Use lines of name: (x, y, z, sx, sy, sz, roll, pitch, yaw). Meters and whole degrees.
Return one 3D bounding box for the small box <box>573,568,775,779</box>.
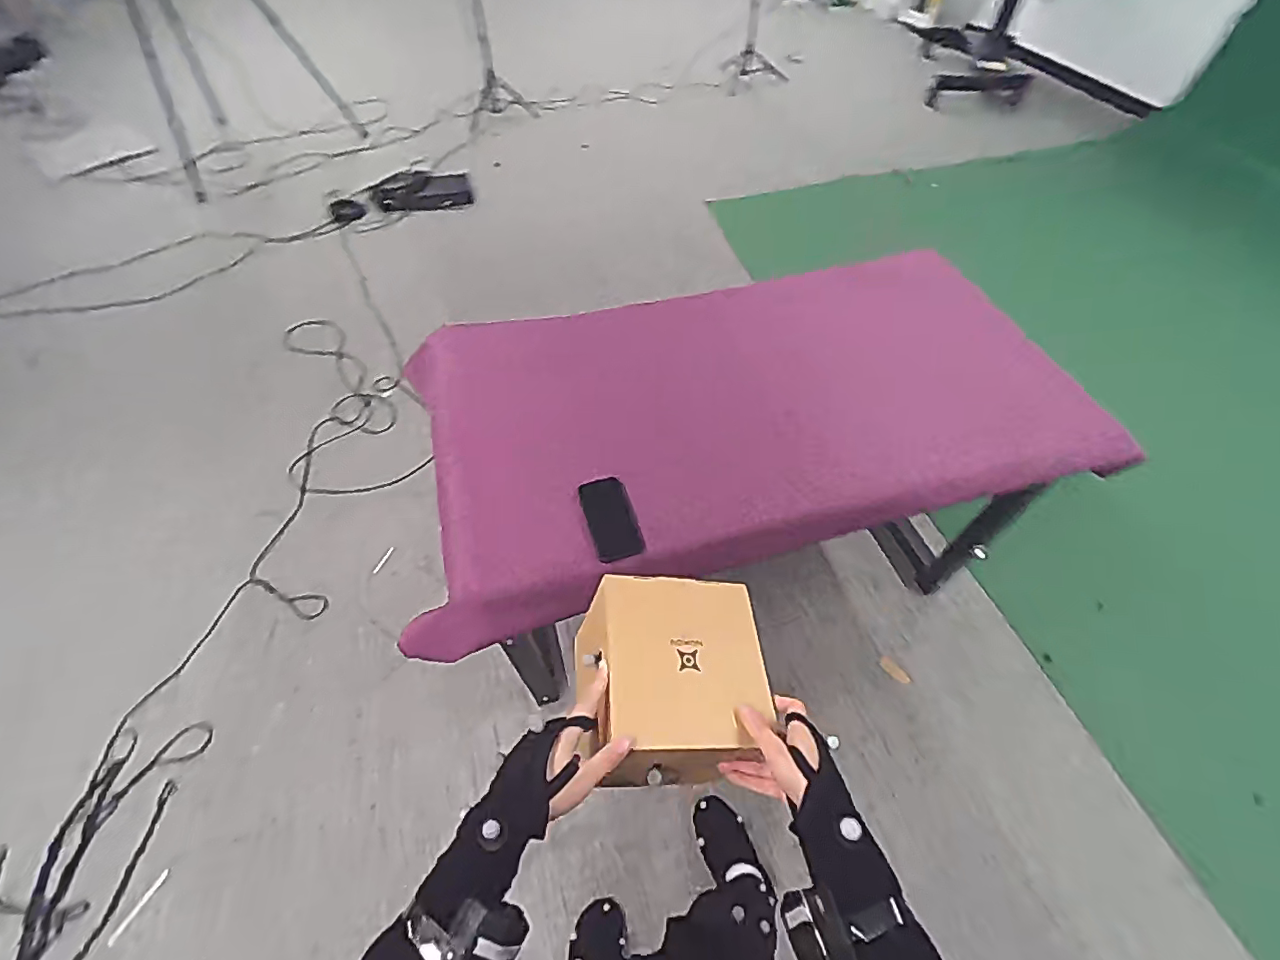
small box: (0.022, 0.218, 0.596, 0.168, 0.176, 0.179, 6, 48, -15)
